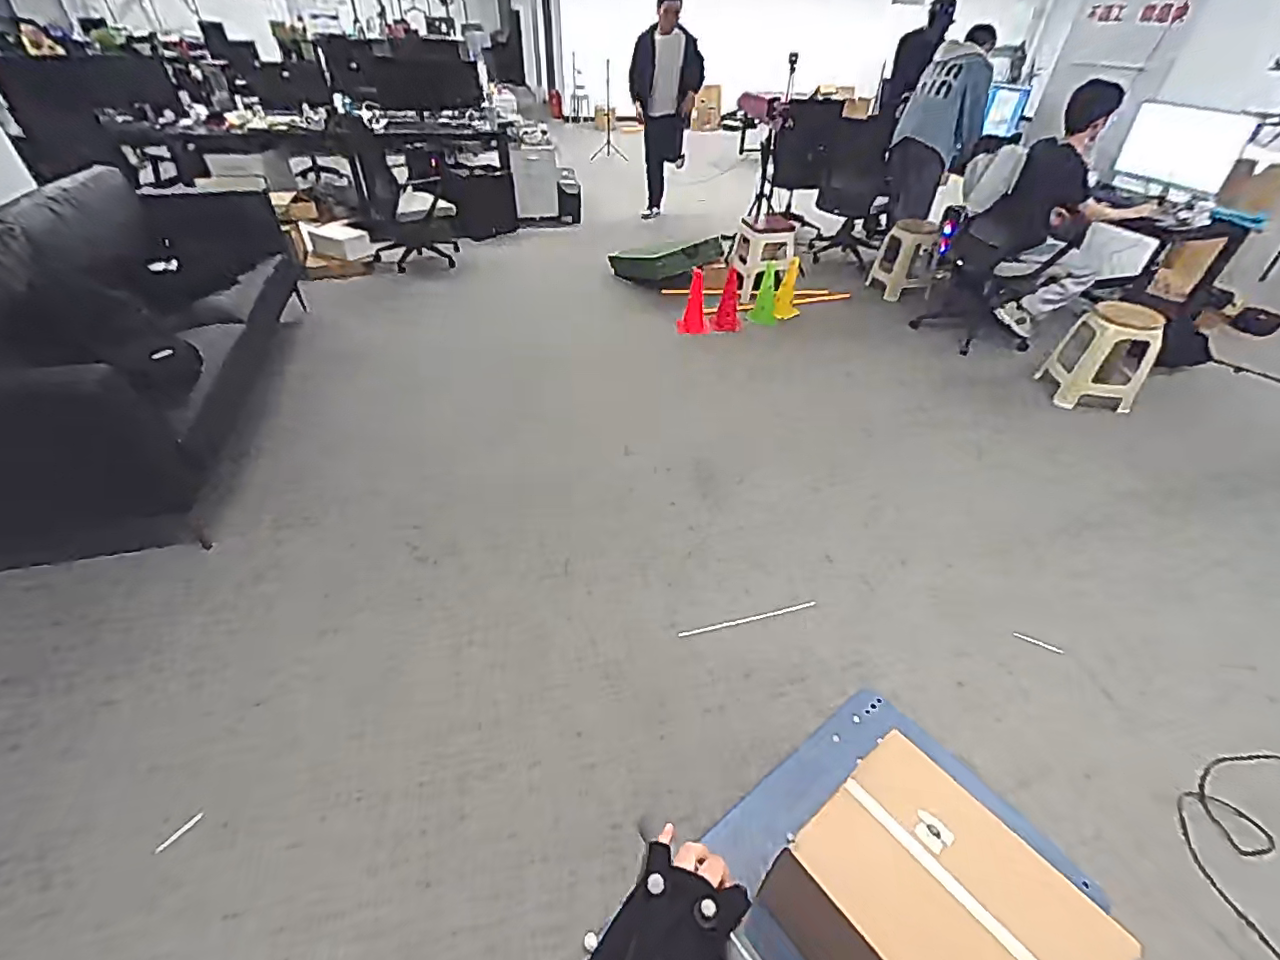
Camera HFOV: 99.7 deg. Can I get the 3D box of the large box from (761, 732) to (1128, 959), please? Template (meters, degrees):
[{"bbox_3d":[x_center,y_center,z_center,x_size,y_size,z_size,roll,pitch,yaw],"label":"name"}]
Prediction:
[{"bbox_3d":[0.474,0.747,0.927,0.320,0.320,0.408,-26,46,-28],"label":"large box"}]
